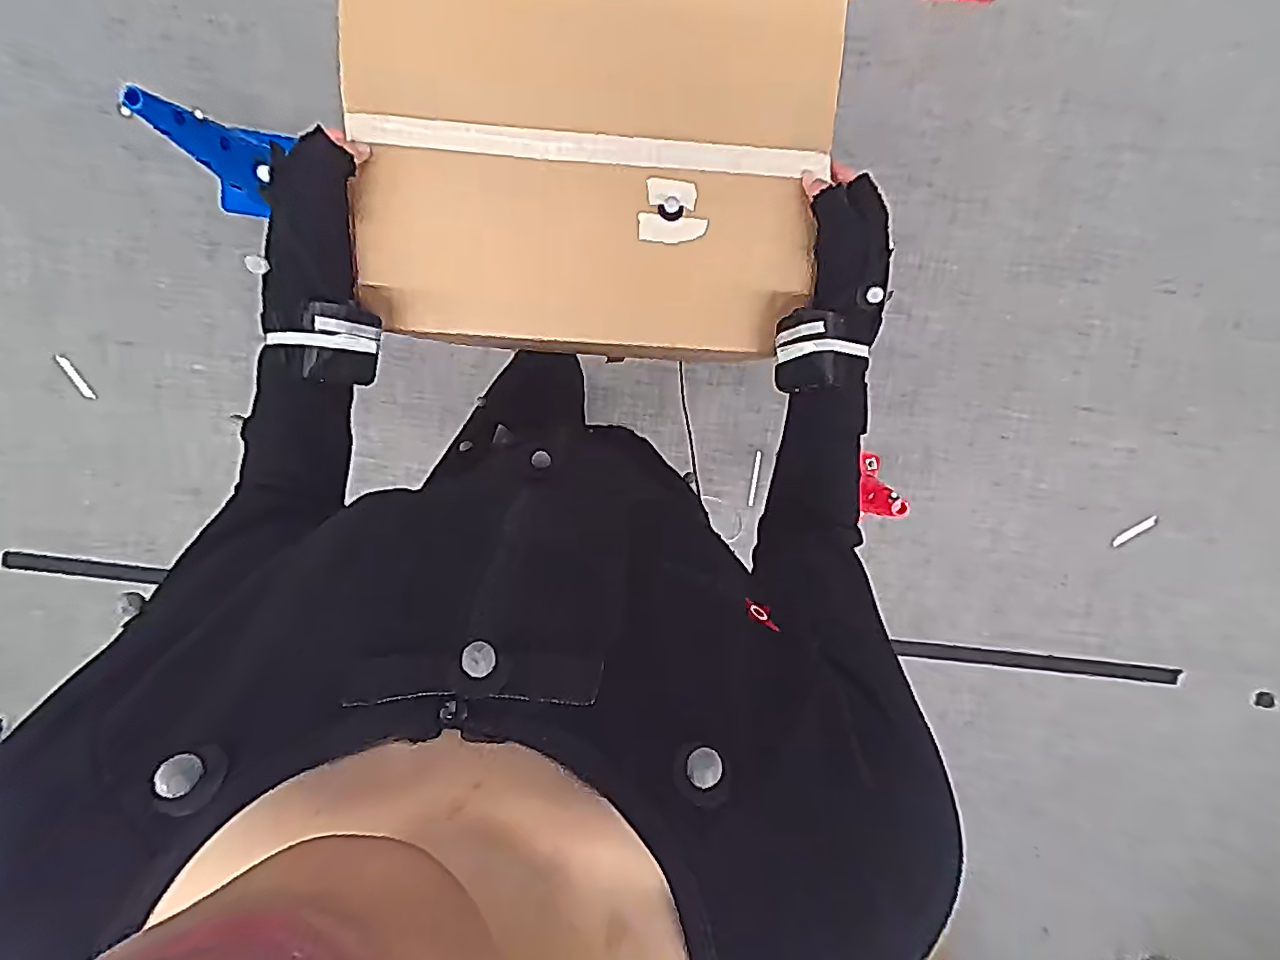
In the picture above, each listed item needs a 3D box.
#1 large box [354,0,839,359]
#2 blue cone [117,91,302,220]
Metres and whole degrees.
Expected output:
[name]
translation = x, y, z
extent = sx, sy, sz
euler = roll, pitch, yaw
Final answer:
[large box]
translation = -0.048, -0.308, 0.609
extent = 0.408, 0.320, 0.320
euler = 2, 101, -5
[blue cone]
translation = -0.941, -0.730, 1.186
extent = 0.192, 0.380, 0.193
euler = 10, 98, -1
